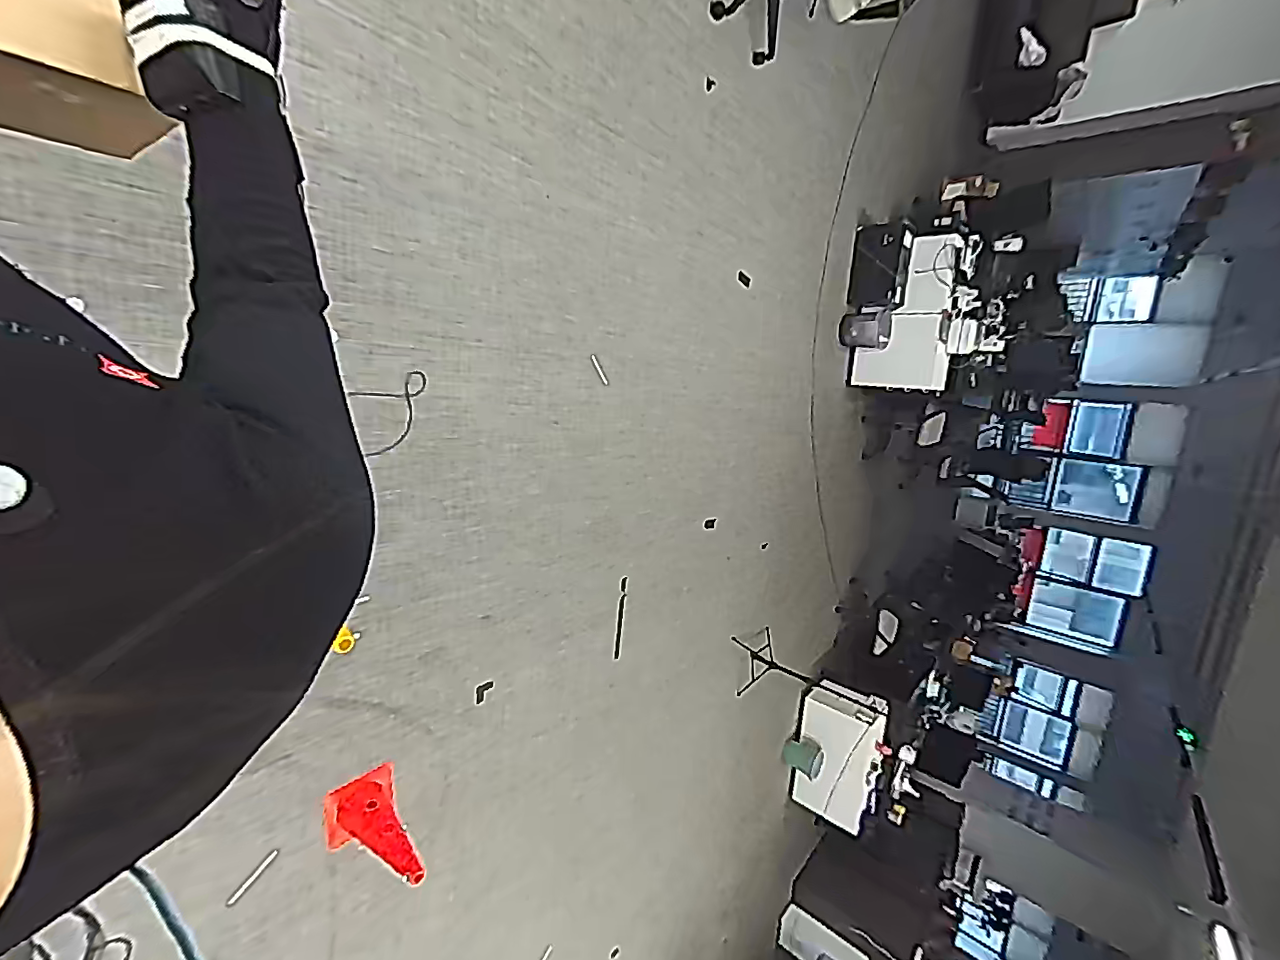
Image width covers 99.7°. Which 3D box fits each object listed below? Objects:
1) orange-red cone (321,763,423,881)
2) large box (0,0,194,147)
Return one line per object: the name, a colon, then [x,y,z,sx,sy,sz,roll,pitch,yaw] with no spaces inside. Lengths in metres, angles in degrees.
orange-red cone: [-0.728,1.015,1.539,0.198,0.360,0.199,-12,108,-49]
large box: [-0.565,-0.448,0.316,0.408,0.320,0.320,-10,112,-50]
